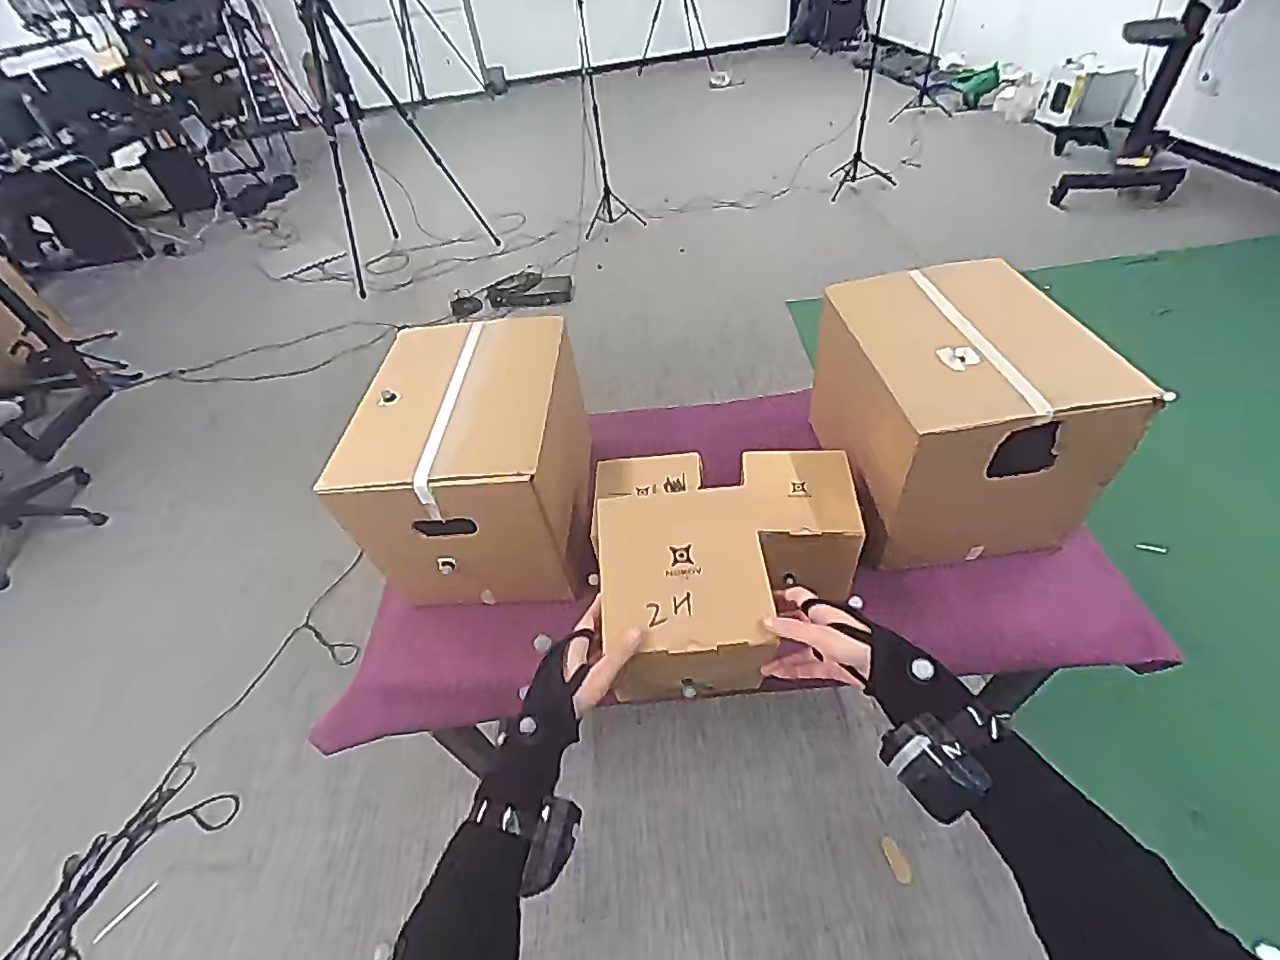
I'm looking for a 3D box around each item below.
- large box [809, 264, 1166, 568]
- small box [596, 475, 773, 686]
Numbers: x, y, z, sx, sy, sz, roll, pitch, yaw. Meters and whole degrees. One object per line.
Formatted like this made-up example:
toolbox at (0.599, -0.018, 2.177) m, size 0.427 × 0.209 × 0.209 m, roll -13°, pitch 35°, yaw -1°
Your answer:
large box at (0.510, -0.114, 0.923) m, size 0.320 × 0.320 × 0.408 m, roll -9°, pitch 46°, yaw 3°
small box at (0.040, 0.116, 0.608) m, size 0.168 × 0.176 × 0.179 m, roll -5°, pitch 55°, yaw 1°
